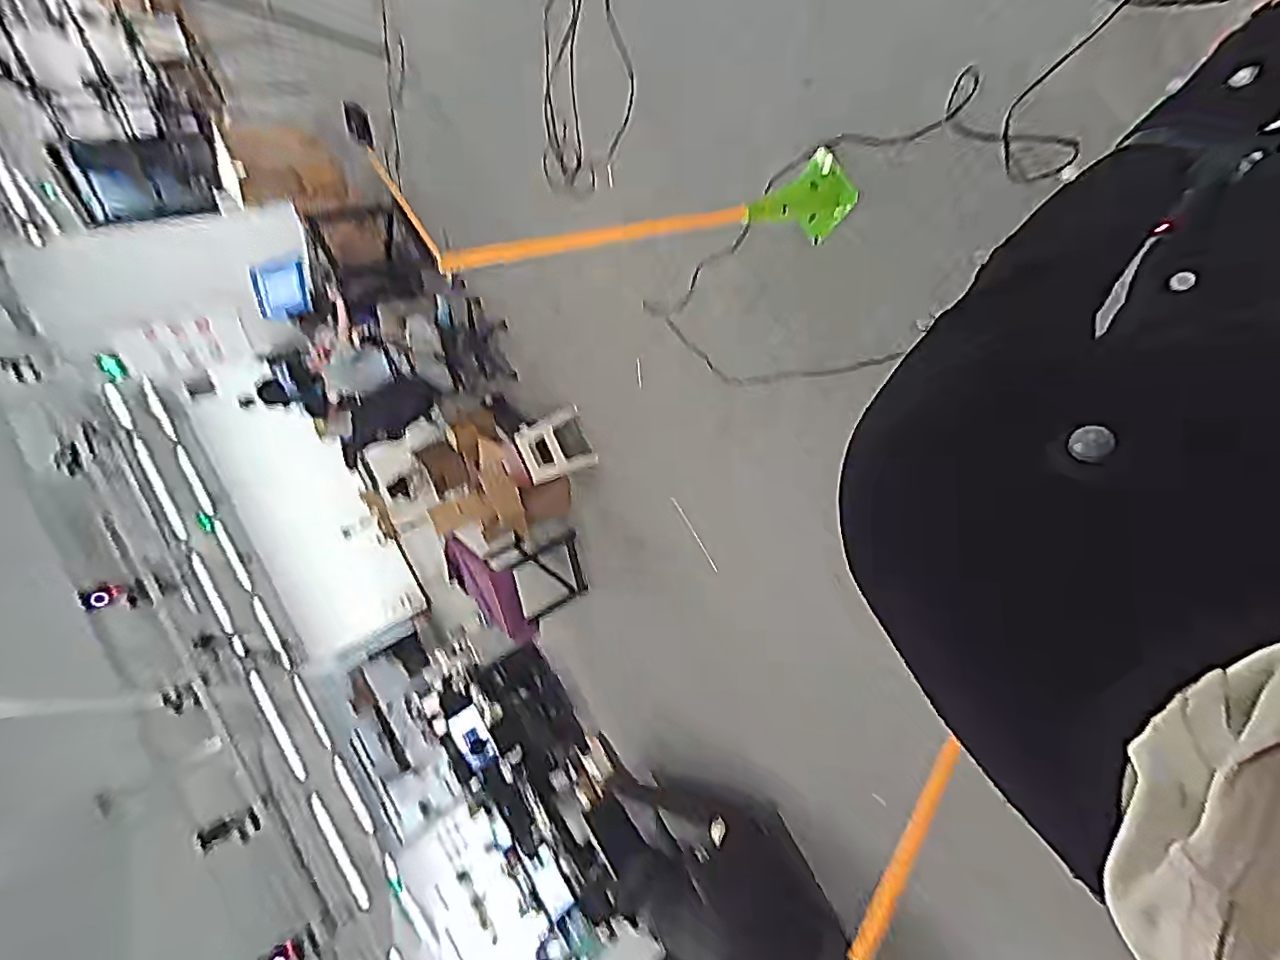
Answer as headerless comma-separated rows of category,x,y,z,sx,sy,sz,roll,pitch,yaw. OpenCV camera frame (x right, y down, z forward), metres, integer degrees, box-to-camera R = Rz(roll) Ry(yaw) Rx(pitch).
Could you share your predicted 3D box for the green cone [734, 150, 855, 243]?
green cone,0.418,-0.810,1.585,0.202,0.368,0.200,60,149,8
